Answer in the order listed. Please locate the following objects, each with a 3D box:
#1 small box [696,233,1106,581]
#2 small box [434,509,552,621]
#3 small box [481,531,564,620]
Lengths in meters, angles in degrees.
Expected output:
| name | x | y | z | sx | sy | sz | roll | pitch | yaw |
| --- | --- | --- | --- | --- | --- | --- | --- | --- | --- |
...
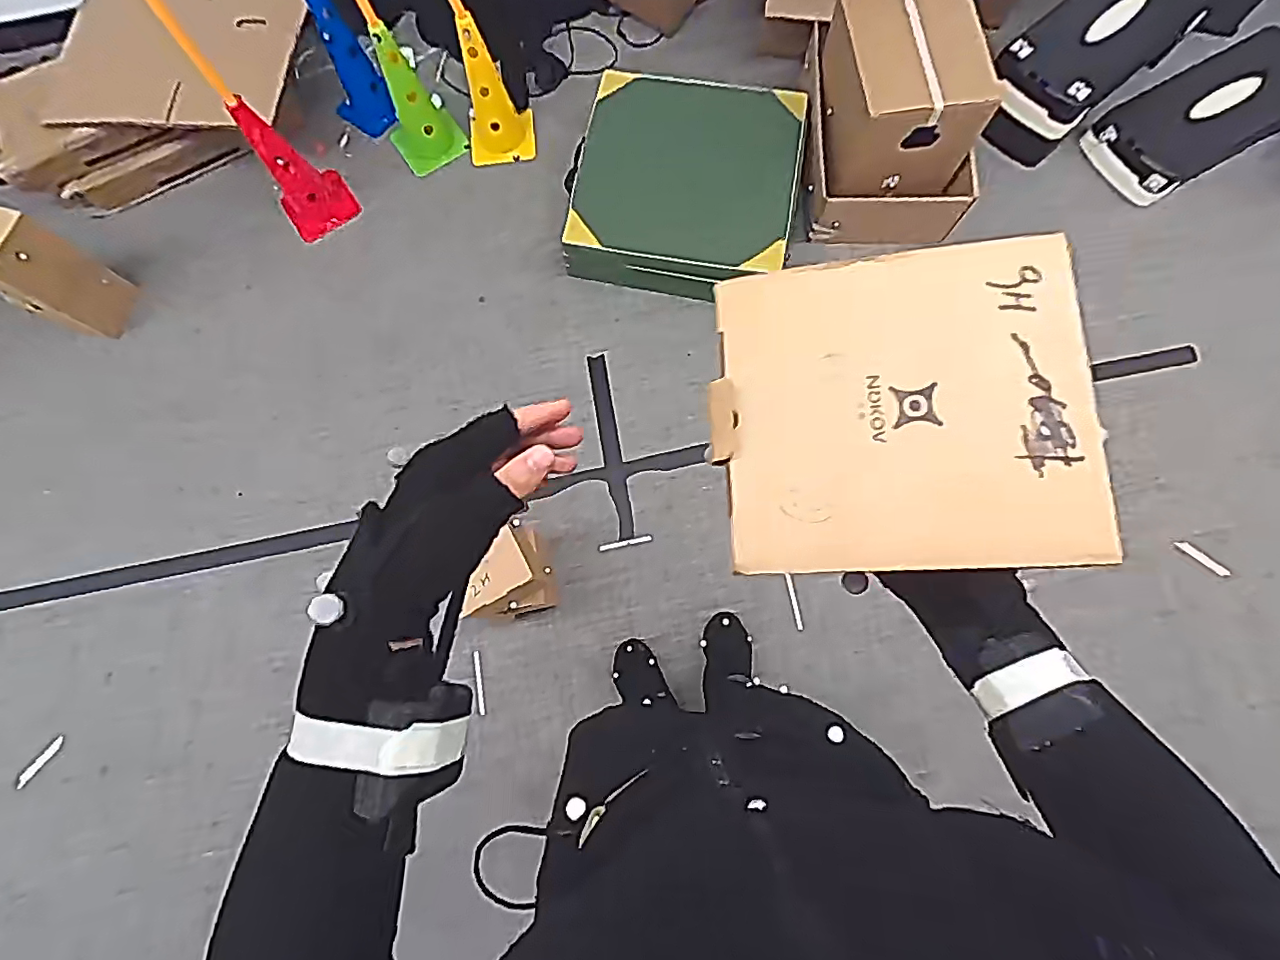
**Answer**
| name | x | y | z | sx | sy | sz | roll | pitch | yaw |
| --- | --- | --- | --- | --- | --- | --- | --- | --- | --- |
| small box | 0.140 | -0.023 | 0.354 | 0.179 | 0.176 | 0.168 | -7 | 79 | 12 |
| small box | -0.305 | 0.184 | 1.152 | 0.168 | 0.176 | 0.179 | -26 | 78 | -2 |
| small box | -0.290 | 0.233 | 1.309 | 0.168 | 0.176 | 0.179 | -13 | 75 | 0 |
